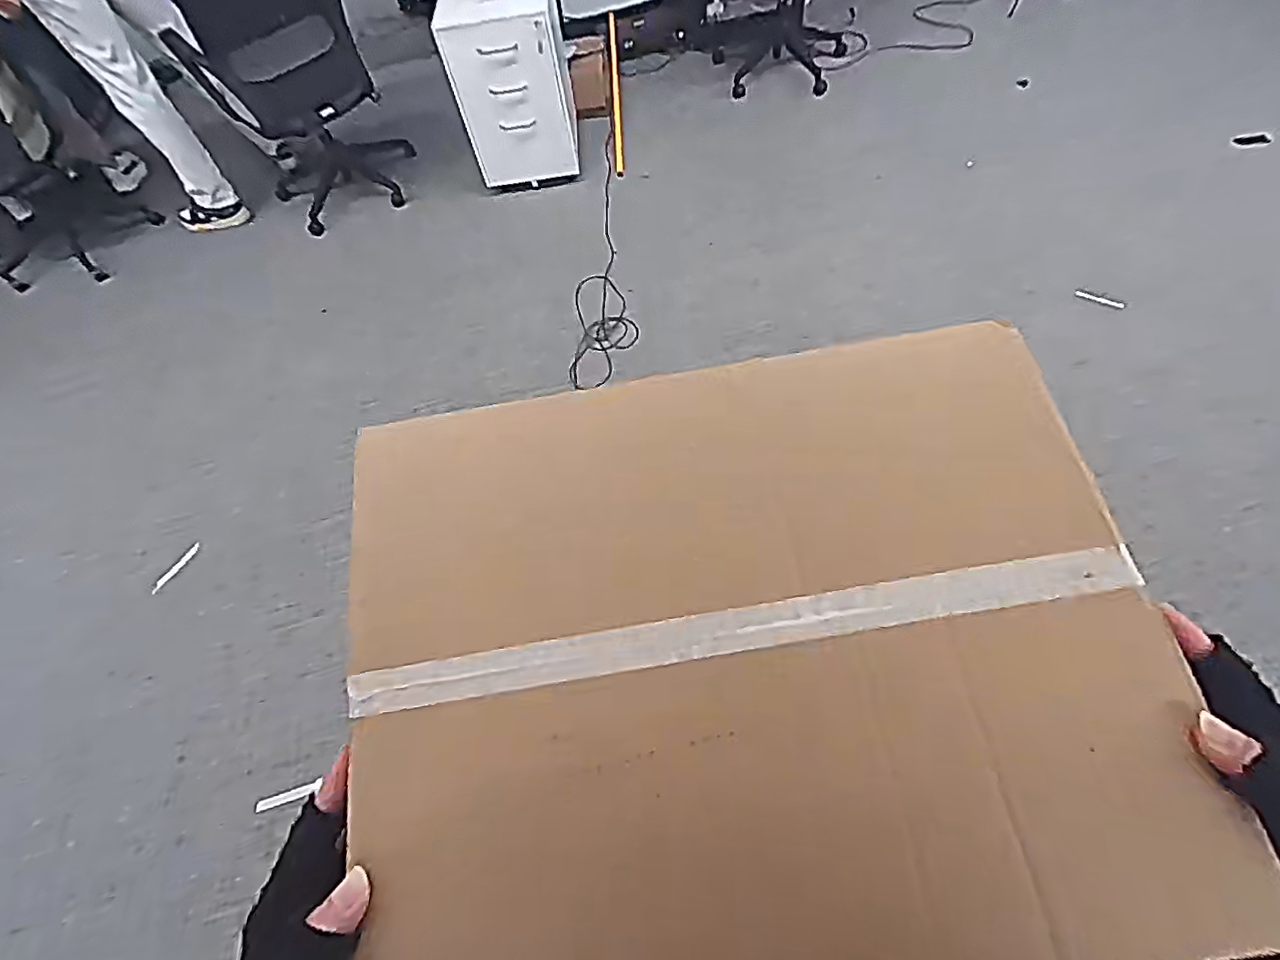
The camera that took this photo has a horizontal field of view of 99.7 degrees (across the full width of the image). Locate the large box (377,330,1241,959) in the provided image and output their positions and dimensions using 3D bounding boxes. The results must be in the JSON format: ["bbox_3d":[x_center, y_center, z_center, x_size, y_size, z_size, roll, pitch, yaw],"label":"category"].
[{"bbox_3d":[0.061,0.132,0.434,0.408,0.320,0.320,-10,70,1],"label":"large box"}]
